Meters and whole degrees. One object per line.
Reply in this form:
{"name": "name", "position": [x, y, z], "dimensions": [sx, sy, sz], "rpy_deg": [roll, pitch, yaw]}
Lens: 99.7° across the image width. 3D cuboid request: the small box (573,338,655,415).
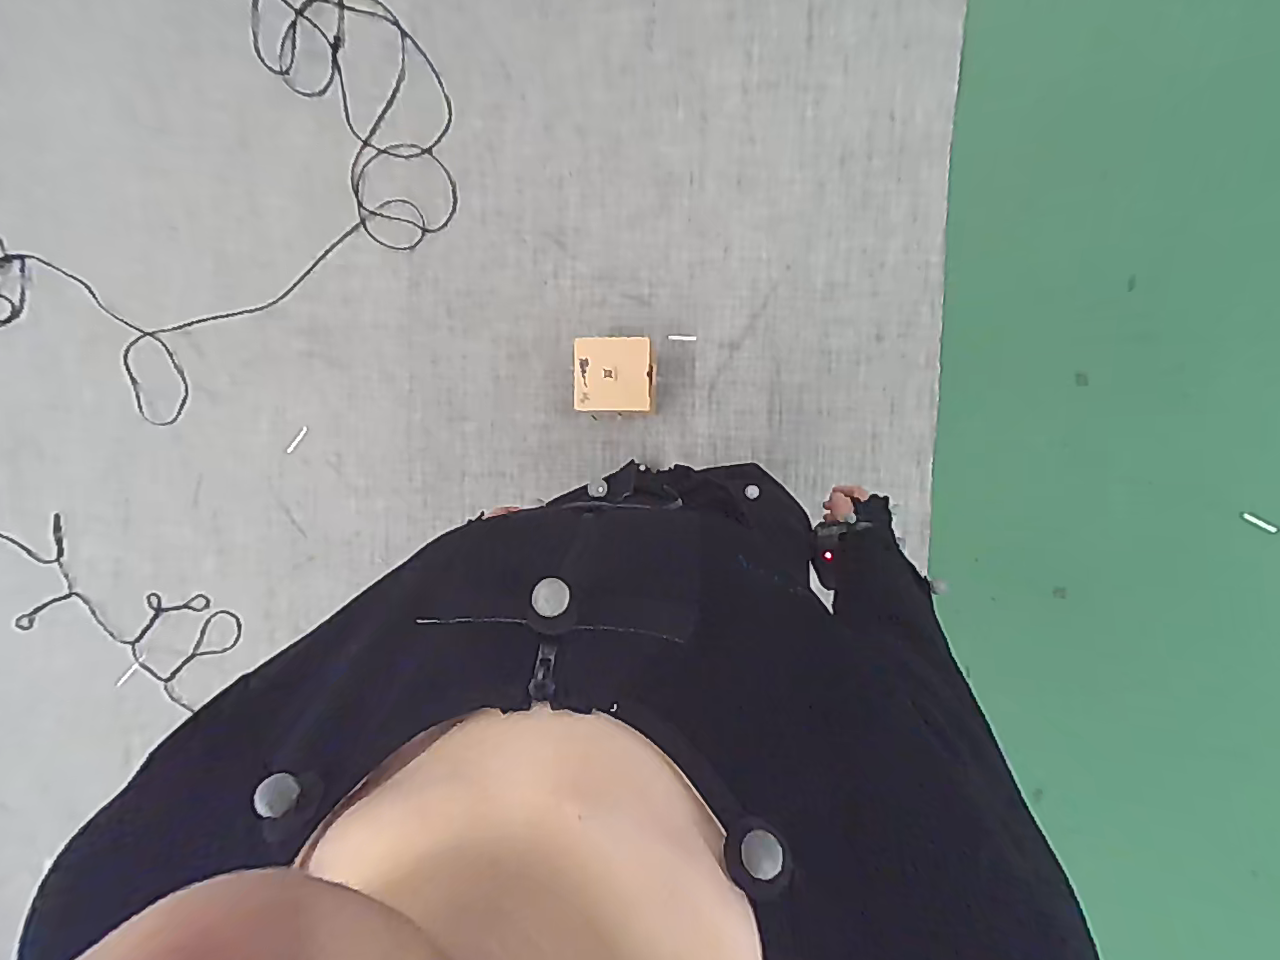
{"name": "small box", "position": [-0.057, -0.244, 1.295], "dimensions": [0.179, 0.176, 0.168], "rpy_deg": [0, 94, 7]}
